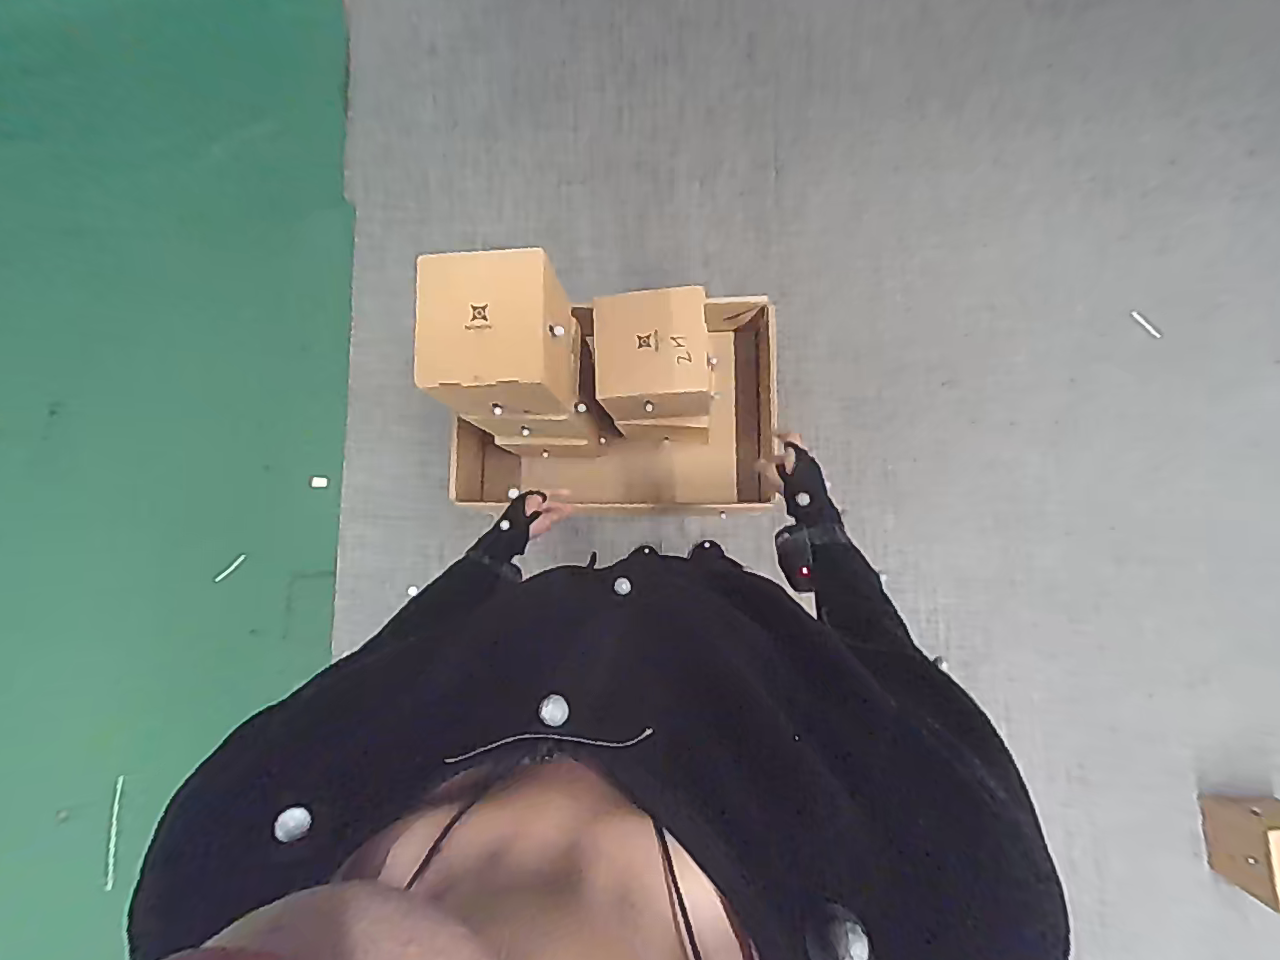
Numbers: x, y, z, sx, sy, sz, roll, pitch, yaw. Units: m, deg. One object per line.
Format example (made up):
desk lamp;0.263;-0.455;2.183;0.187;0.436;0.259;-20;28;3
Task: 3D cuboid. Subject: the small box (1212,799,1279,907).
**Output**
small box;1.453;0.844;1.215;0.168;0.176;0.179;-2;83;6

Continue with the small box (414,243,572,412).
small box;-0.193;-0.201;0.751;0.168;0.176;0.179;-2;84;5
